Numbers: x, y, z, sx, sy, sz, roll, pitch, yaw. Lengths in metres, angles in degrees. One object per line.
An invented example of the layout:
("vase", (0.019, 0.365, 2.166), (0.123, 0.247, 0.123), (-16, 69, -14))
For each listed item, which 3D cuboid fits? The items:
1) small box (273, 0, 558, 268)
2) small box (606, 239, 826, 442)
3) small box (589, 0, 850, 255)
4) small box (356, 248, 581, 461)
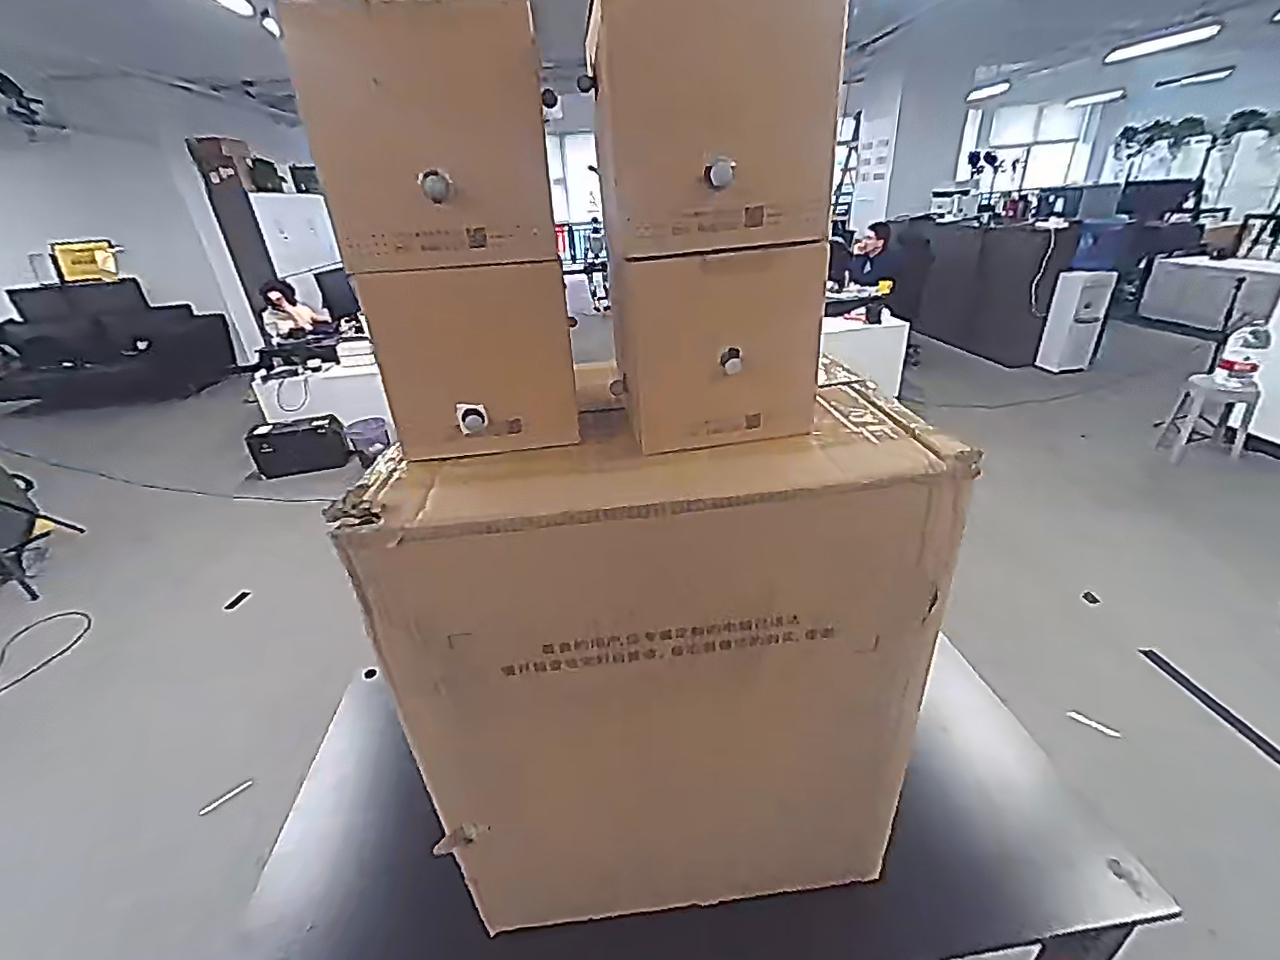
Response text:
("small box", (-0.163, -0.279, 0.461), (0.168, 0.176, 0.179), (-7, 28, -6))
("small box", (0.063, -0.143, 0.528), (0.168, 0.176, 0.179), (-8, 29, -6))
("small box", (0.049, -0.285, 0.444), (0.168, 0.176, 0.179), (-7, 29, -4))
("small box", (-0.153, -0.134, 0.539), (0.168, 0.176, 0.179), (-8, 29, -8))
